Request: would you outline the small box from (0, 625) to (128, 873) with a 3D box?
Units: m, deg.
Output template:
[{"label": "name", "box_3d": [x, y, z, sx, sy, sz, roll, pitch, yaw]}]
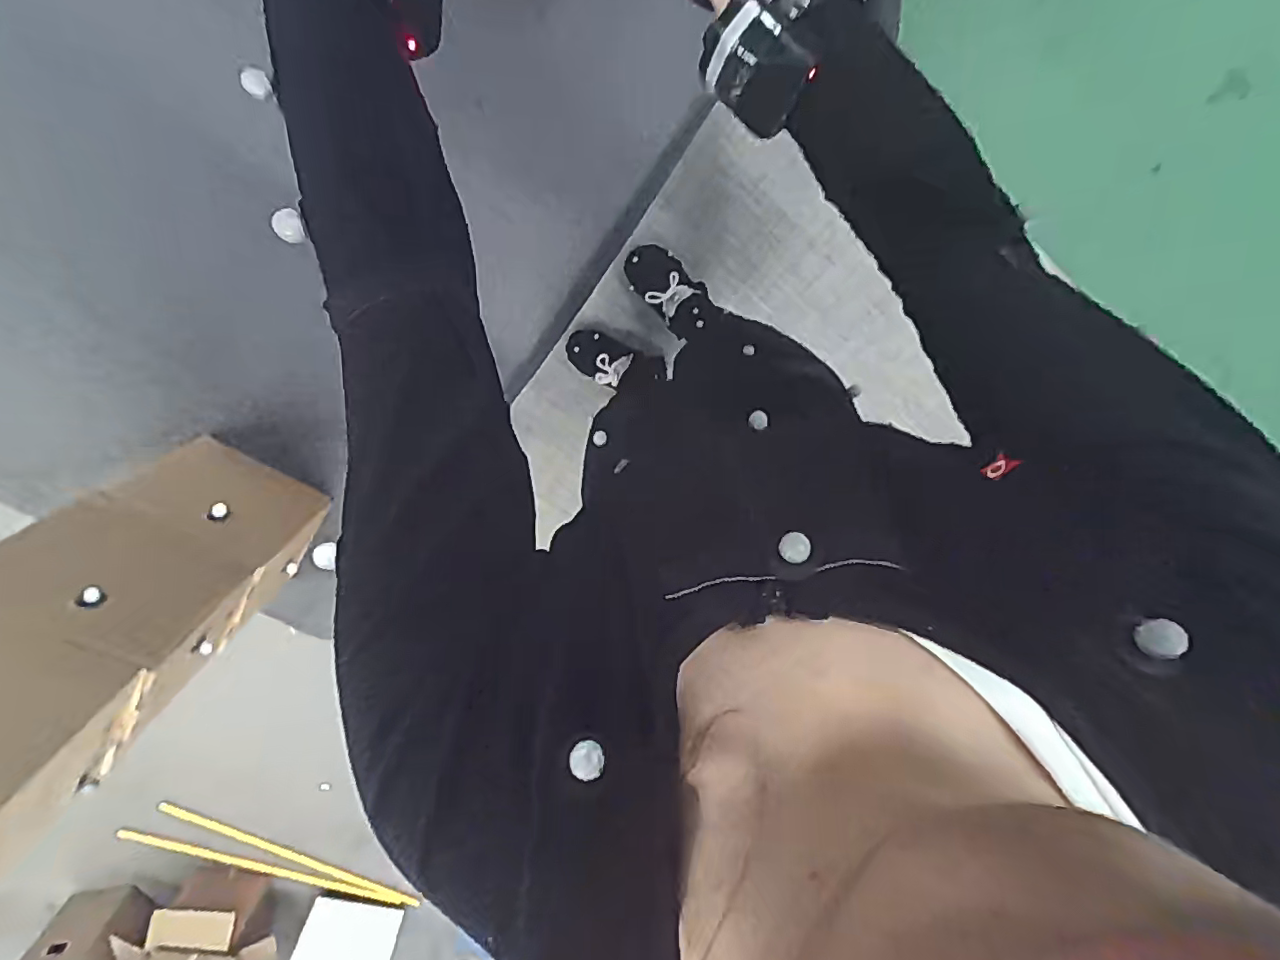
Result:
[{"label": "small box", "box_3d": [-0.542, 0.216, 0.393, 0.179, 0.176, 0.168, 31, 110, -17]}]

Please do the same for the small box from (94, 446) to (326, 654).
[{"label": "small box", "box_3d": [-0.549, 0.078, 0.689, 0.179, 0.176, 0.168, 32, 111, -17]}]

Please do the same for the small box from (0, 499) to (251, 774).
[{"label": "small box", "box_3d": [-0.544, 0.147, 0.541, 0.179, 0.176, 0.168, 33, 110, -17]}]
